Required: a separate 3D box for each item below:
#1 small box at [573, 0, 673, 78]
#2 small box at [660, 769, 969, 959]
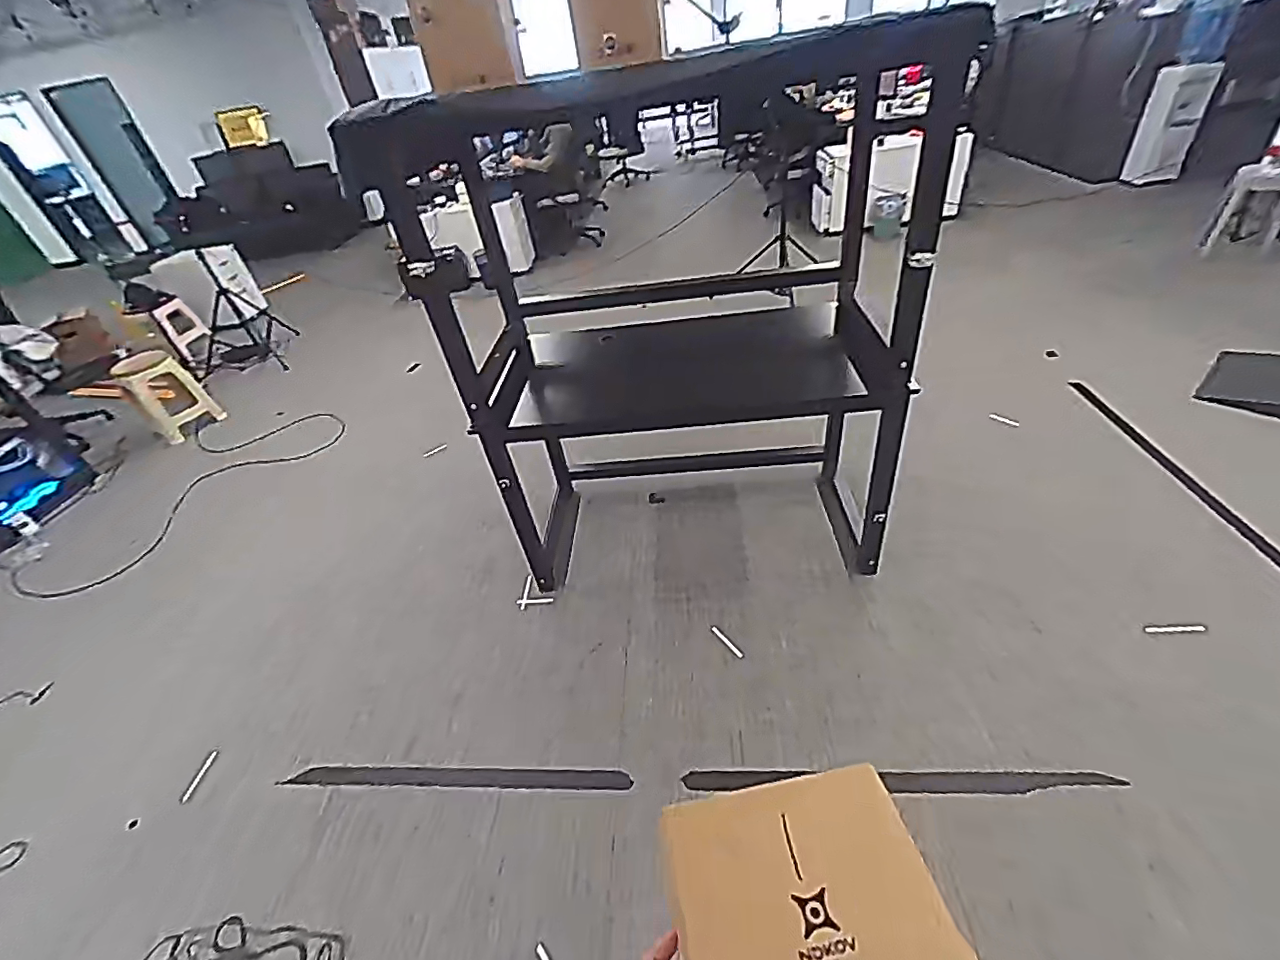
[{"bbox_3d":[-0.029,-0.877,1.026,0.168,0.176,0.179,-3,38,10],"label":"small box"},{"bbox_3d":[0.113,0.342,0.377,0.168,0.176,0.179,-8,37,-7],"label":"small box"}]
